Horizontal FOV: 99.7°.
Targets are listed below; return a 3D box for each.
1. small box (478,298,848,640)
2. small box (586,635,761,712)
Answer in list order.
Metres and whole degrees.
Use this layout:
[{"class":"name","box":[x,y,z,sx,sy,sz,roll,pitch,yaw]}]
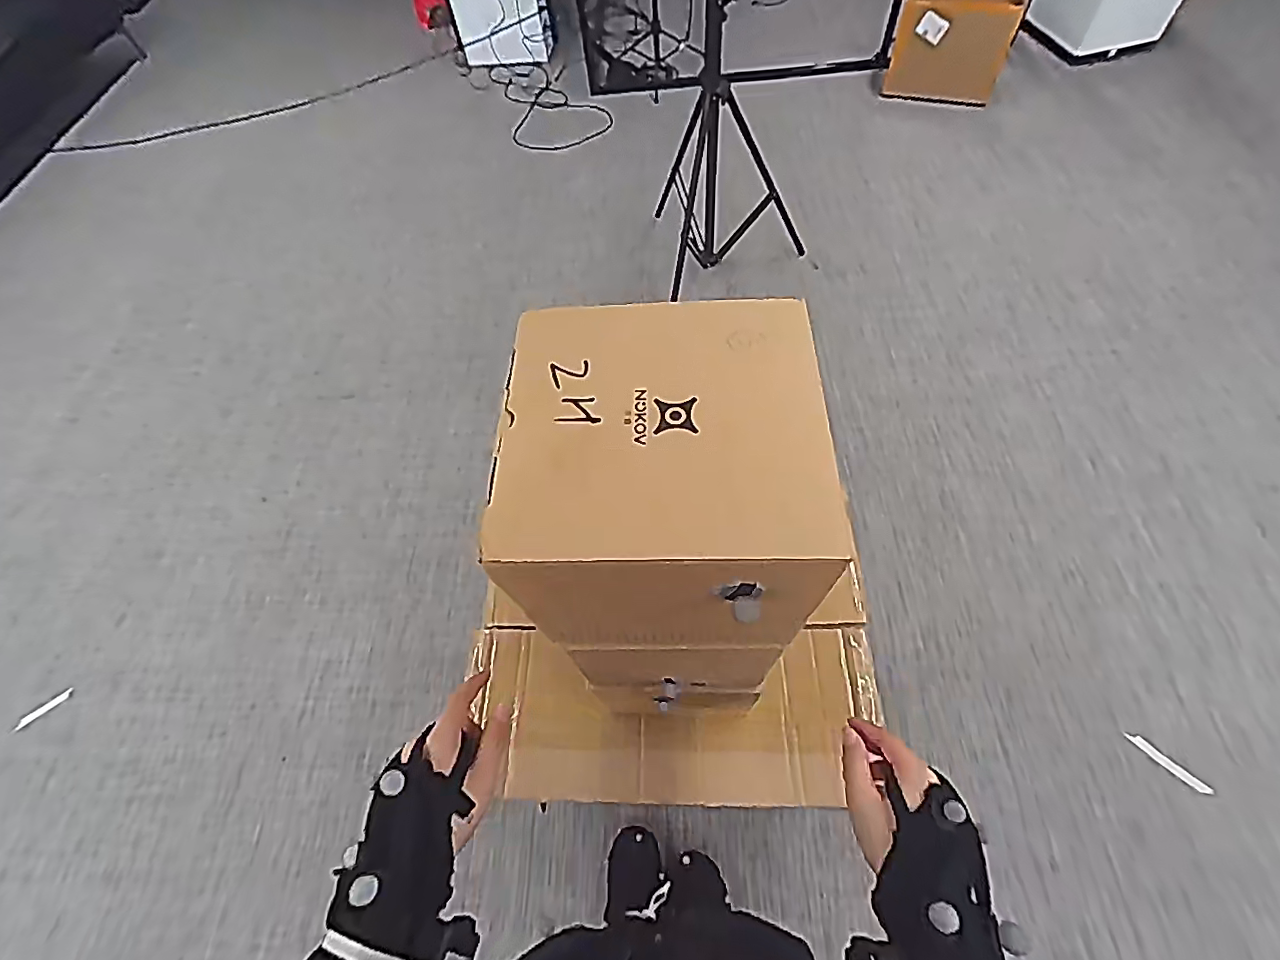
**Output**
[{"class":"small box","box":[0.017,0.003,0.359,0.179,0.176,0.168,-1,60,5]},{"class":"small box","box":[0.041,0.175,0.639,0.179,0.176,0.168,-1,60,4]}]
